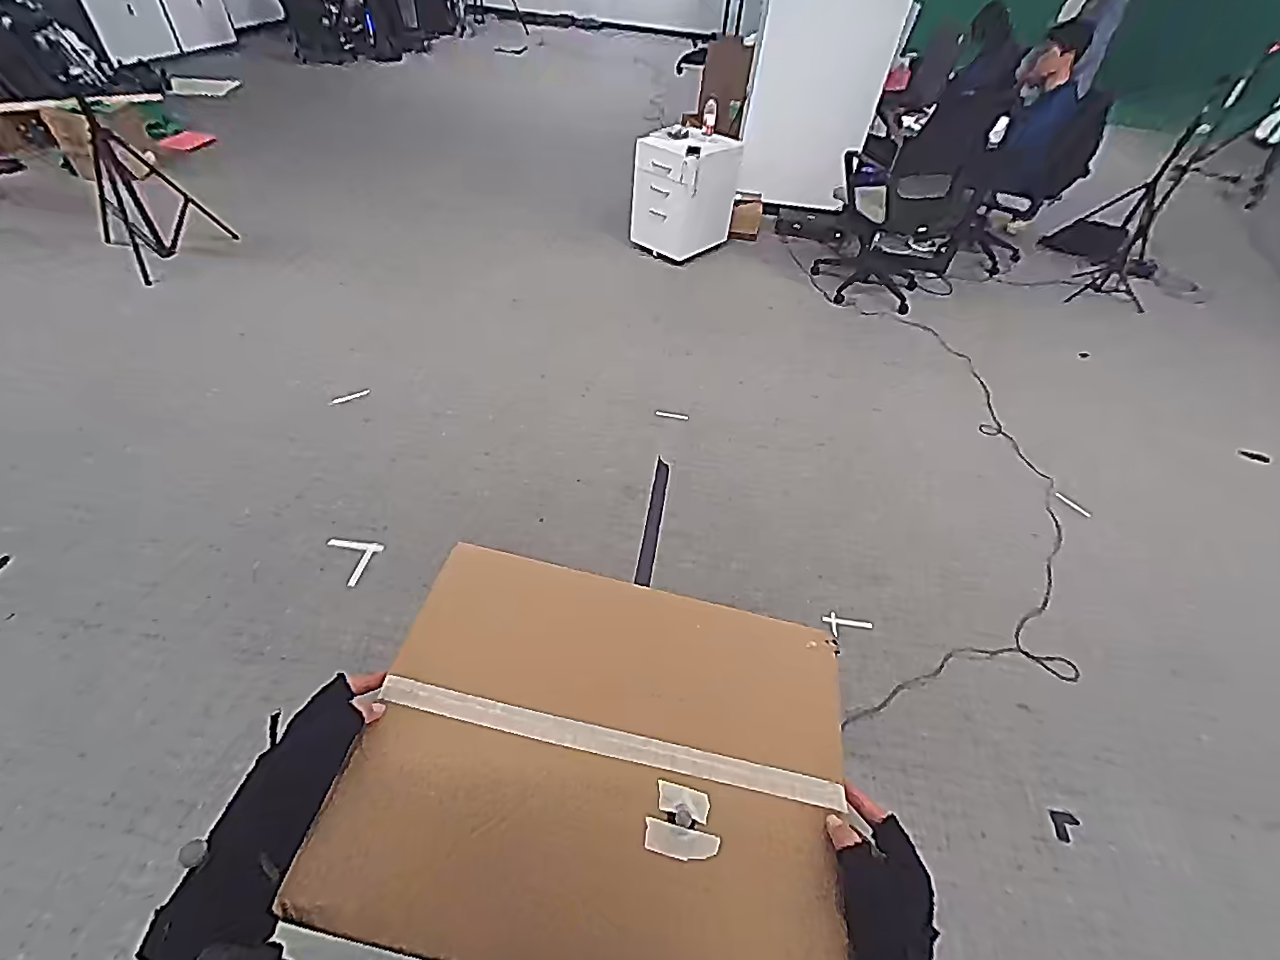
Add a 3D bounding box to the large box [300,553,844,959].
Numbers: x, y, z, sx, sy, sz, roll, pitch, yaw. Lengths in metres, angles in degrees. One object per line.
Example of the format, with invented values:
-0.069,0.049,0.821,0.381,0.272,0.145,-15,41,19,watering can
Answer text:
-0.046,0.327,0.586,0.408,0.320,0.320,14,49,1,large box
